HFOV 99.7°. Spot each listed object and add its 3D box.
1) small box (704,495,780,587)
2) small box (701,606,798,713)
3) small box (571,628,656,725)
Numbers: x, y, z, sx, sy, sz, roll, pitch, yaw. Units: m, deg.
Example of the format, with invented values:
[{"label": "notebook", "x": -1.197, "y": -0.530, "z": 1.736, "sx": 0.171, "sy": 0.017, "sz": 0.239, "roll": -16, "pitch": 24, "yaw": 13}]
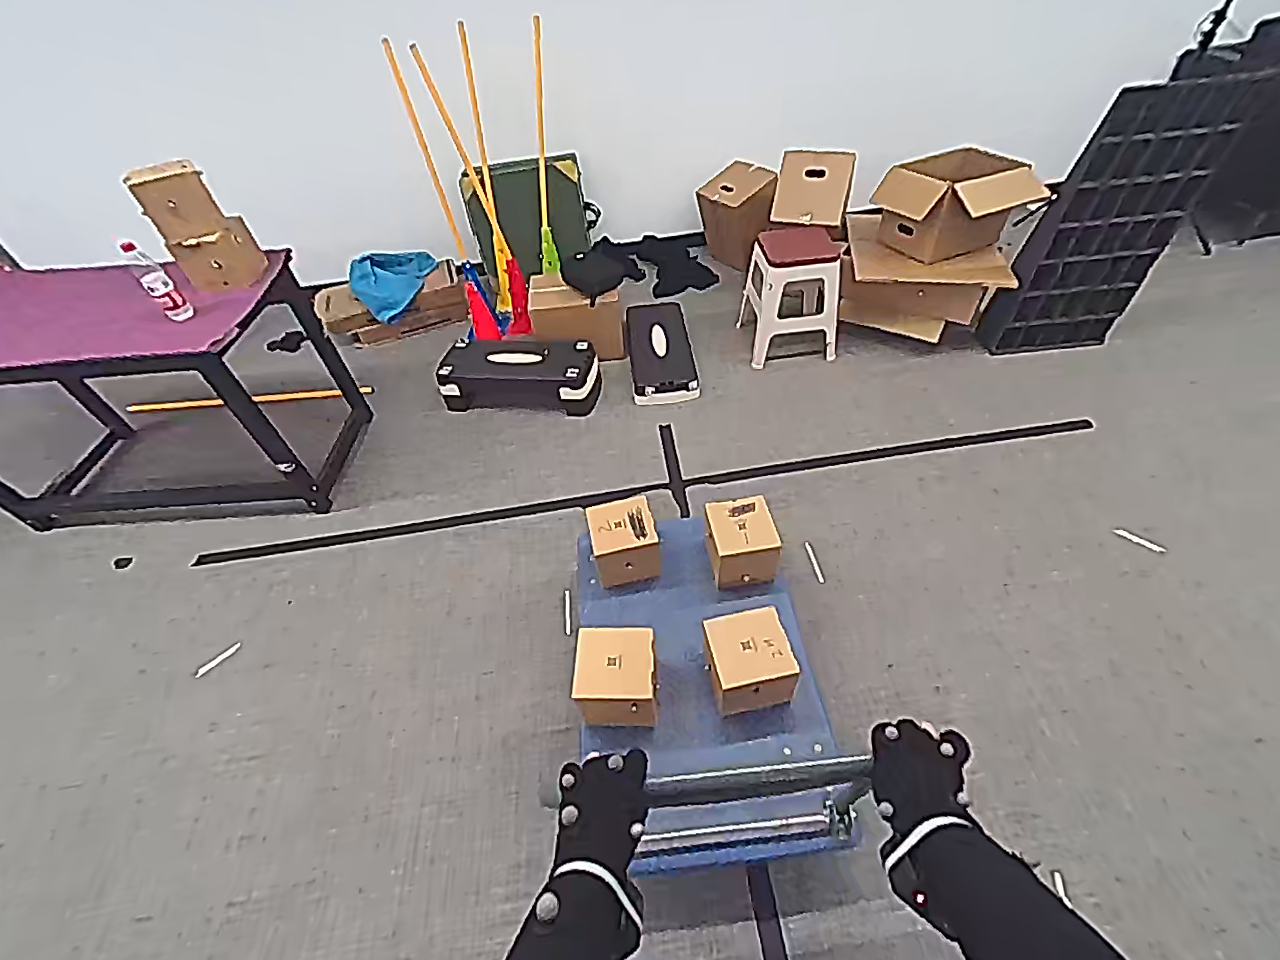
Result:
[{"label": "small box", "x": 0.271, "y": 0.168, "z": 1.480, "sx": 0.168, "sy": 0.176, "sz": 0.179, "roll": -9, "pitch": 49, "yaw": -2}, {"label": "small box", "x": 0.247, "y": 0.421, "z": 1.255, "sx": 0.179, "sy": 0.176, "sz": 0.168, "roll": -11, "pitch": 48, "yaw": -4}, {"label": "small box", "x": -0.054, "y": 0.458, "z": 1.254, "sx": 0.179, "sy": 0.176, "sz": 0.168, "roll": -1, "pitch": 48, "yaw": 3}]
